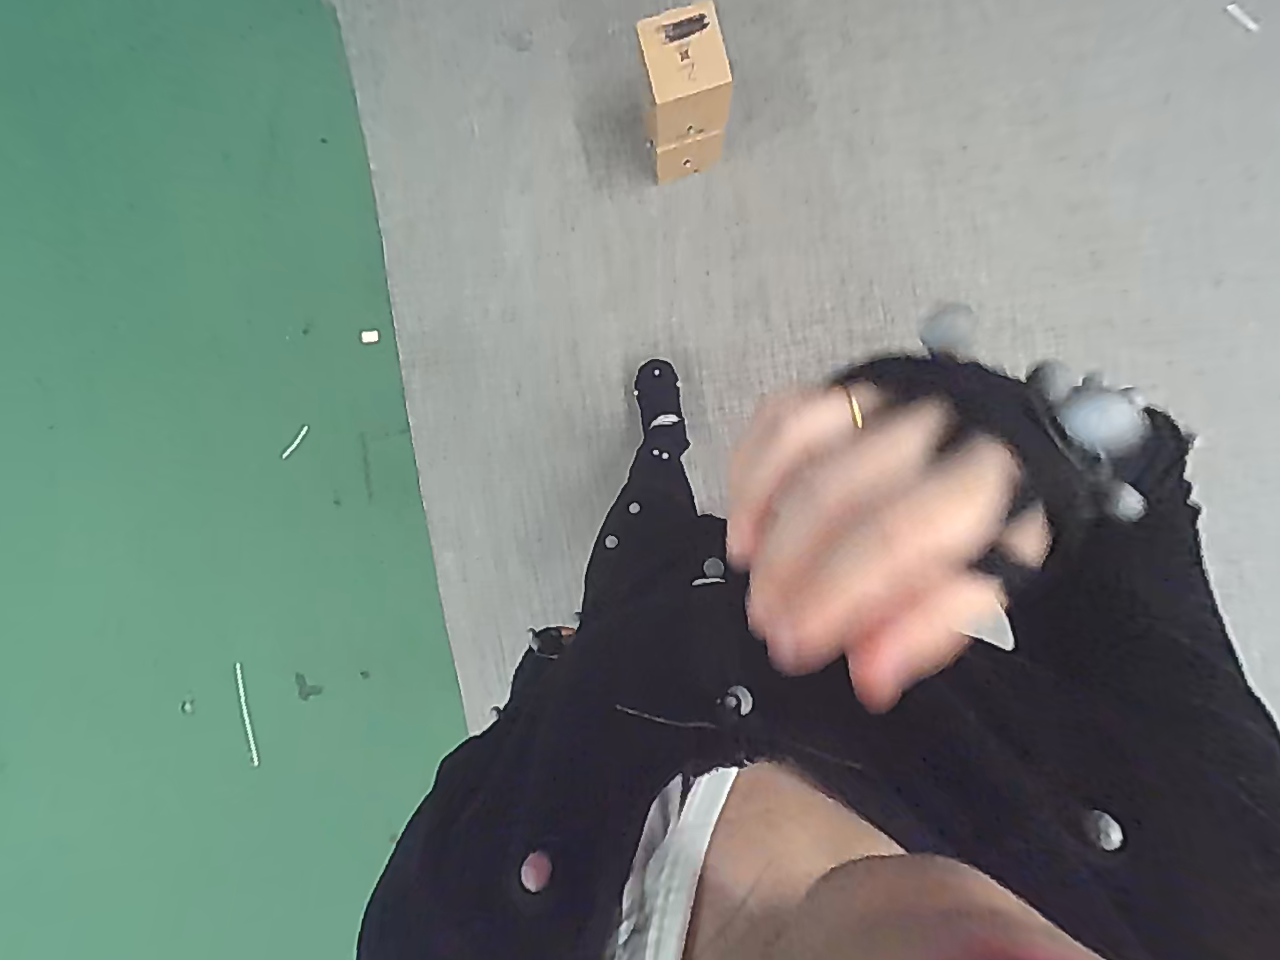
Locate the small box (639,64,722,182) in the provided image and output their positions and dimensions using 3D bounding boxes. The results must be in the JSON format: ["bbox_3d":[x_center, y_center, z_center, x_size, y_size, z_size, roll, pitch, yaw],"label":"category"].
[{"bbox_3d":[0.102,-0.885,1.365,0.168,0.176,0.179,-16,92,4],"label":"small box"}]
